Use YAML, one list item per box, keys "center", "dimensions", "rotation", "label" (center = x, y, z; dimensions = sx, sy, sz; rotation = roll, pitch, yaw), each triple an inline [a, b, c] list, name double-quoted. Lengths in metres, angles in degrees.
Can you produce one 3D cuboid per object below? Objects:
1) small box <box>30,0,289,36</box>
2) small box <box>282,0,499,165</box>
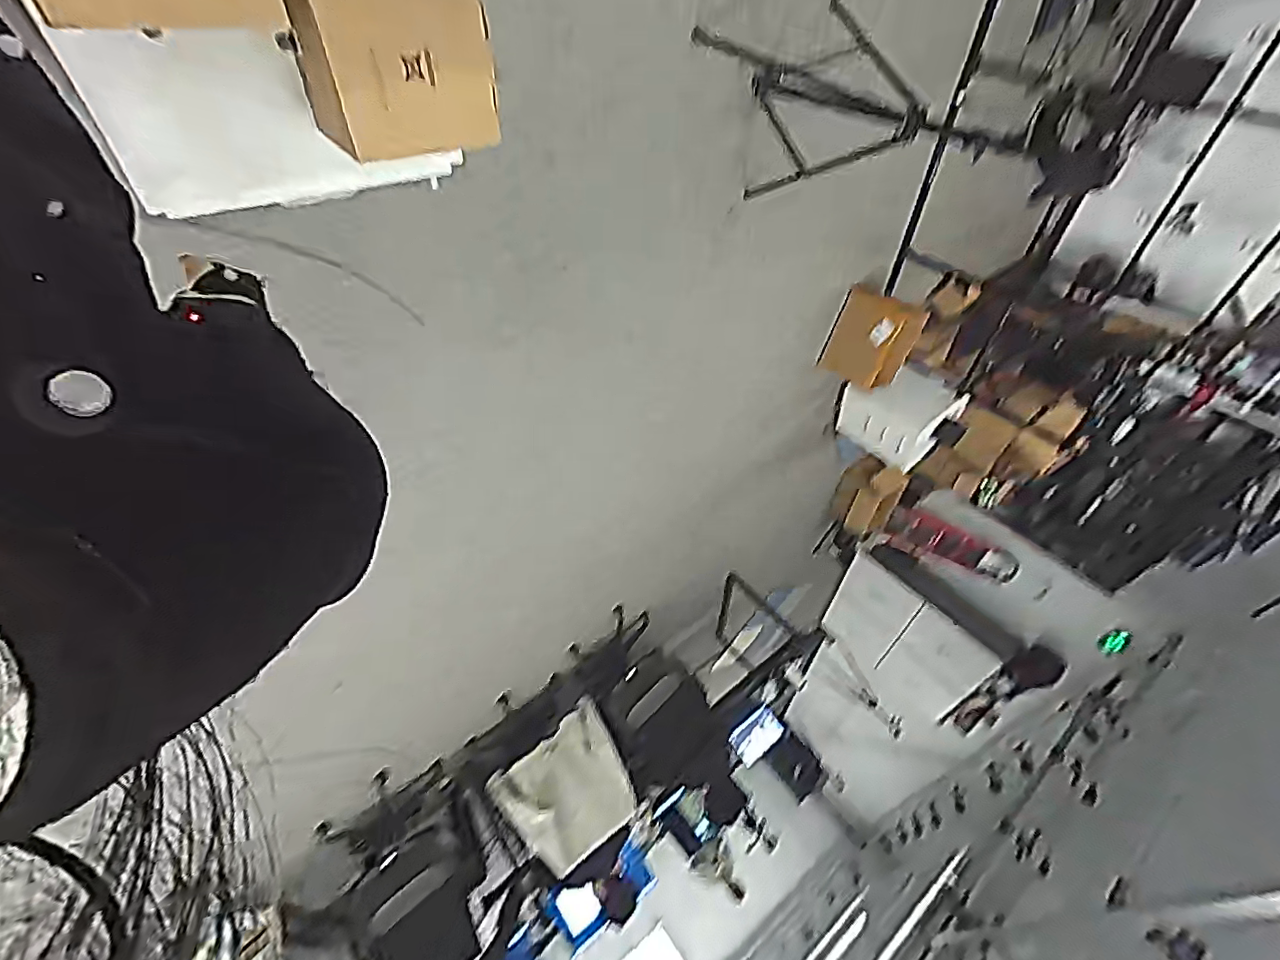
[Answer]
- center: [-0.436, -0.486, 0.450]
  dimensions: [0.179, 0.176, 0.168]
  rotation: [-27, 142, -29]
  label: "small box"
- center: [-0.288, -0.485, 0.626]
  dimensions: [0.179, 0.176, 0.168]
  rotation: [-26, 141, -27]
  label: "small box"
